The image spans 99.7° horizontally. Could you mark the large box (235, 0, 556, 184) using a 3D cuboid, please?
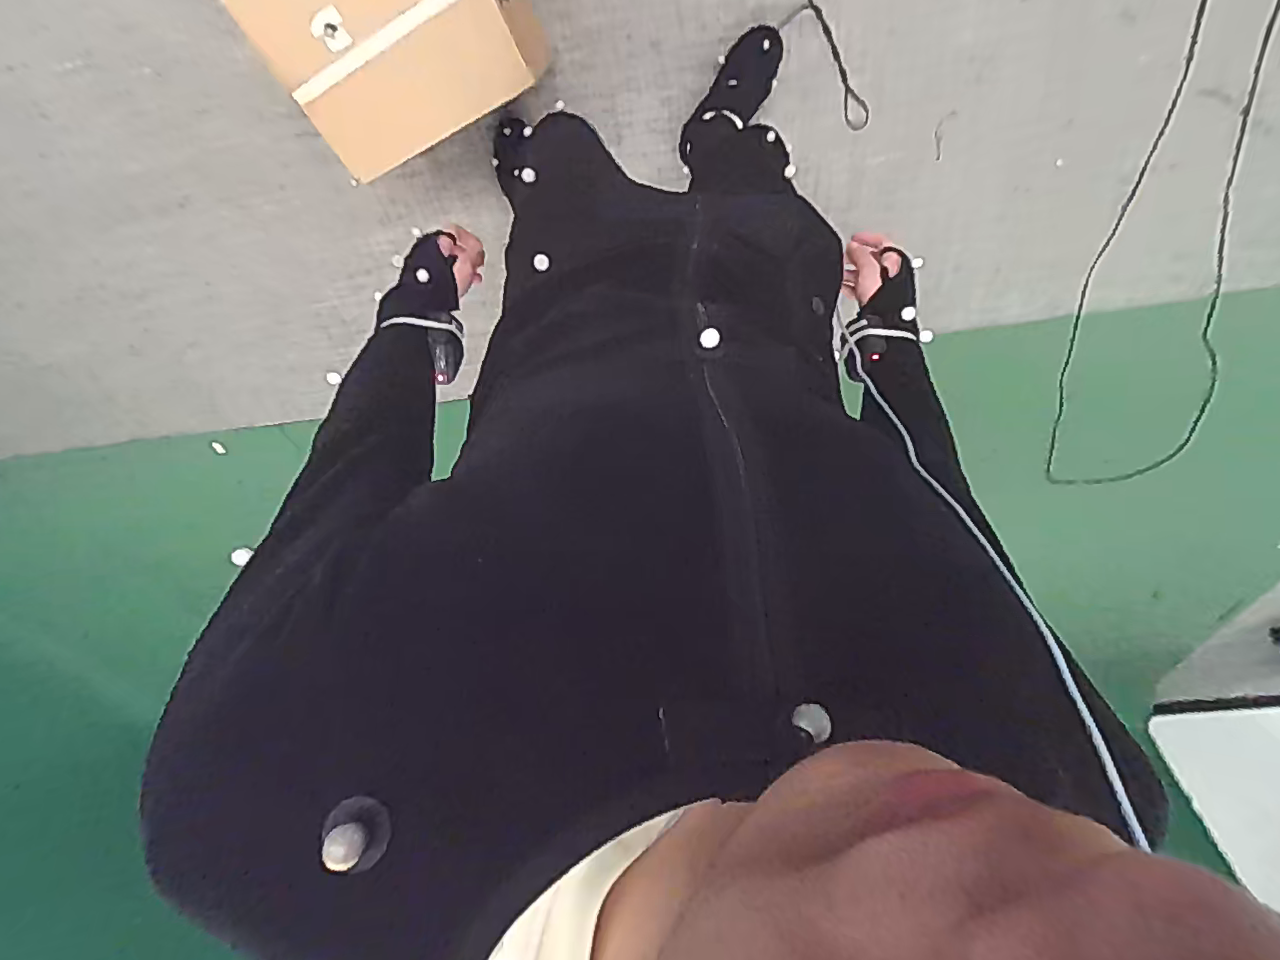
[{"bbox_3d":[-0.418,-0.848,1.016,0.408,0.320,0.320,-17,132,18],"label":"large box"}]
